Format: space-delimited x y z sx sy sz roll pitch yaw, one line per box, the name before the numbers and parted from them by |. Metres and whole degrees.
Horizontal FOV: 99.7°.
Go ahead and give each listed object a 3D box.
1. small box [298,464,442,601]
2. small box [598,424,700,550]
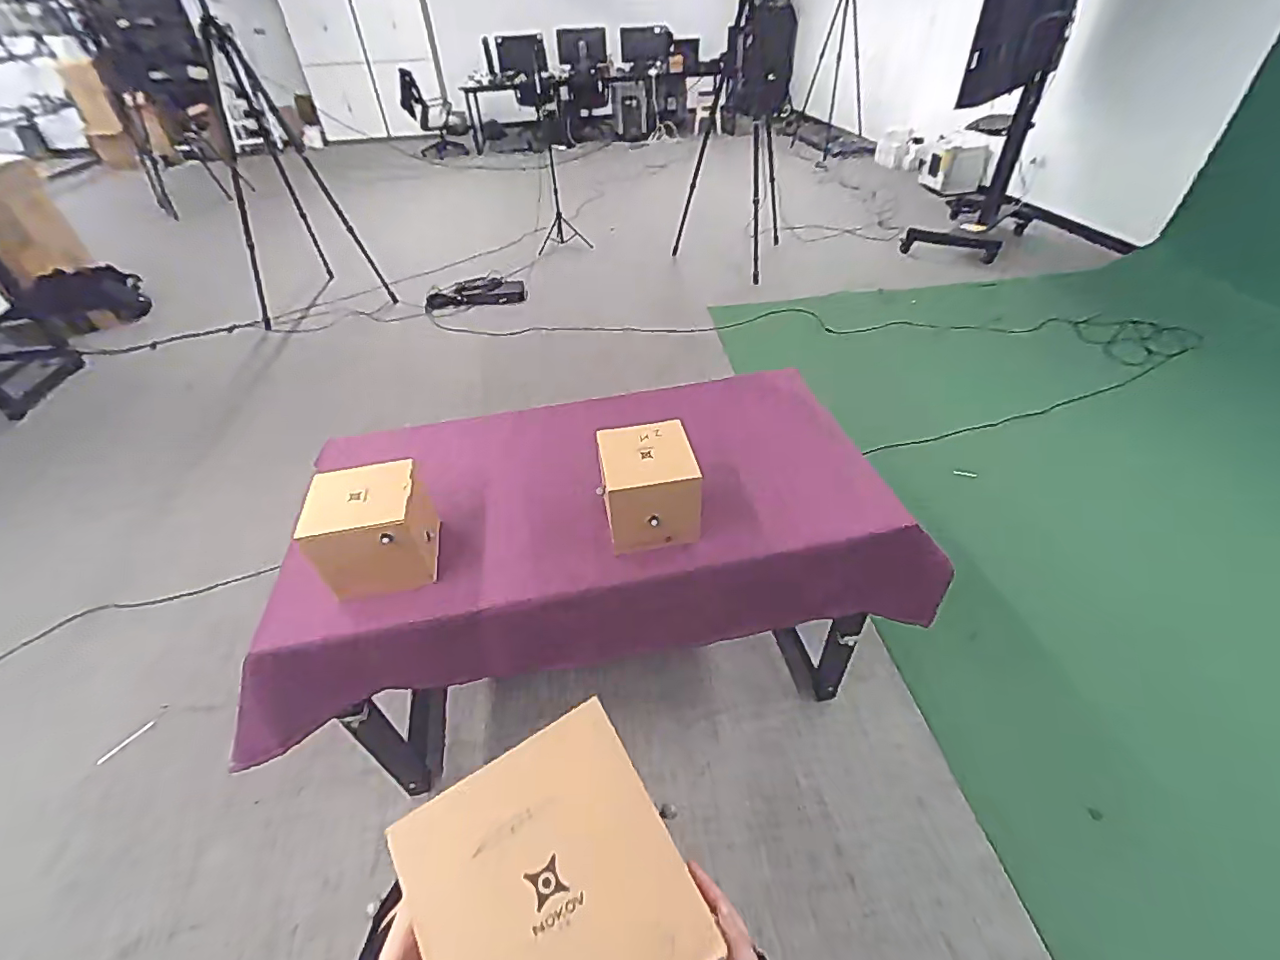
small box | -0.478 0.098 0.986 0.179 0.176 0.168 -10 41 -8
small box | 0.017 0.019 1.034 0.168 0.176 0.179 -8 41 -5
